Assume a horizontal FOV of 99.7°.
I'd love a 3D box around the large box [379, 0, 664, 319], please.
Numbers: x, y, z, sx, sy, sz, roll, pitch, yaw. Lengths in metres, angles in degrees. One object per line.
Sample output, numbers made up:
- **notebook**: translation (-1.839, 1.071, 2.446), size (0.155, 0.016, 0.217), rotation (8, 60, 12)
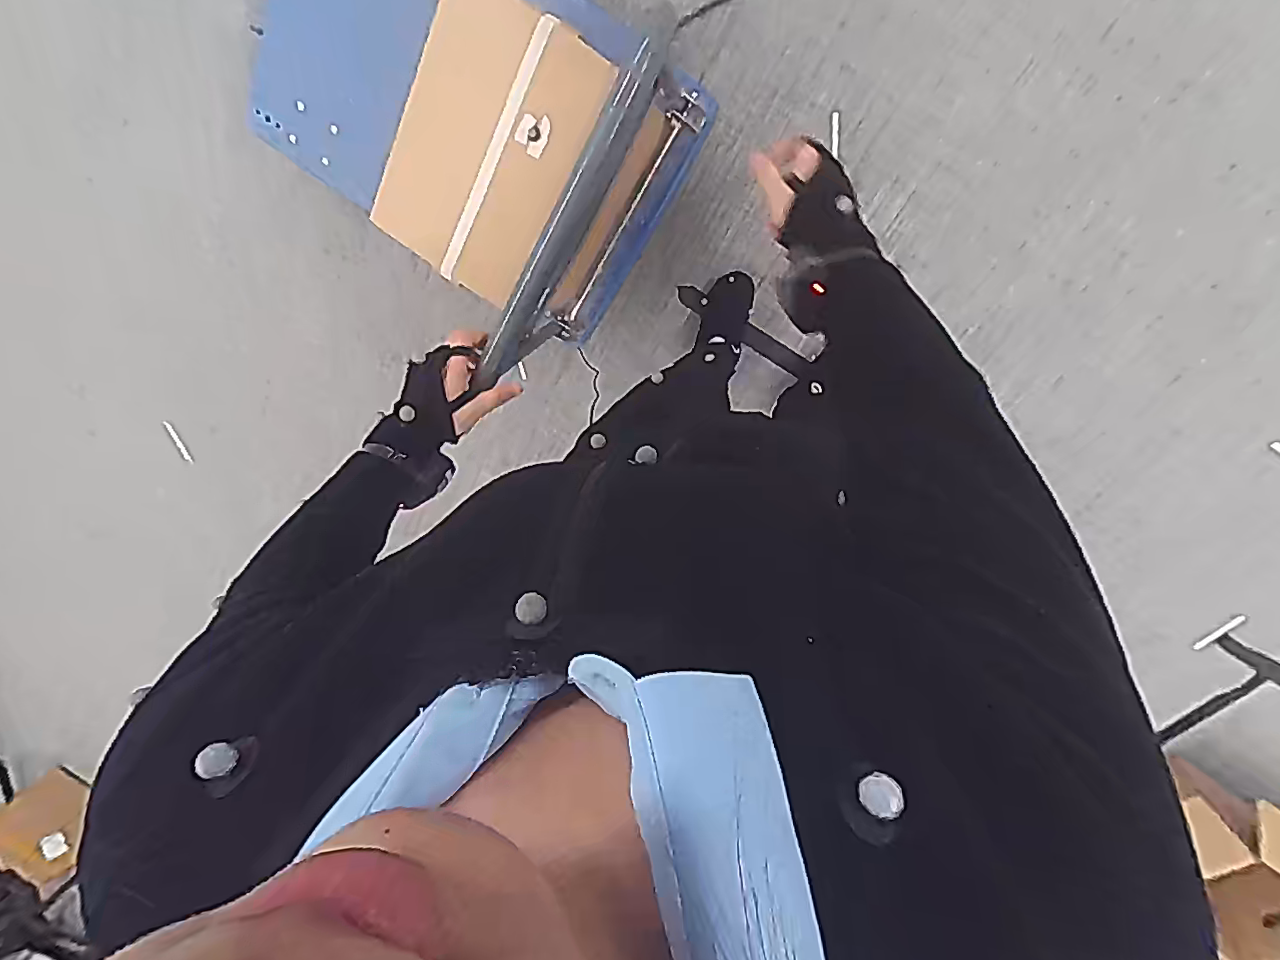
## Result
- **large box**: translation (-0.202, -0.568, 0.998), size (0.320, 0.320, 0.408), rotation (33, 116, -5)
